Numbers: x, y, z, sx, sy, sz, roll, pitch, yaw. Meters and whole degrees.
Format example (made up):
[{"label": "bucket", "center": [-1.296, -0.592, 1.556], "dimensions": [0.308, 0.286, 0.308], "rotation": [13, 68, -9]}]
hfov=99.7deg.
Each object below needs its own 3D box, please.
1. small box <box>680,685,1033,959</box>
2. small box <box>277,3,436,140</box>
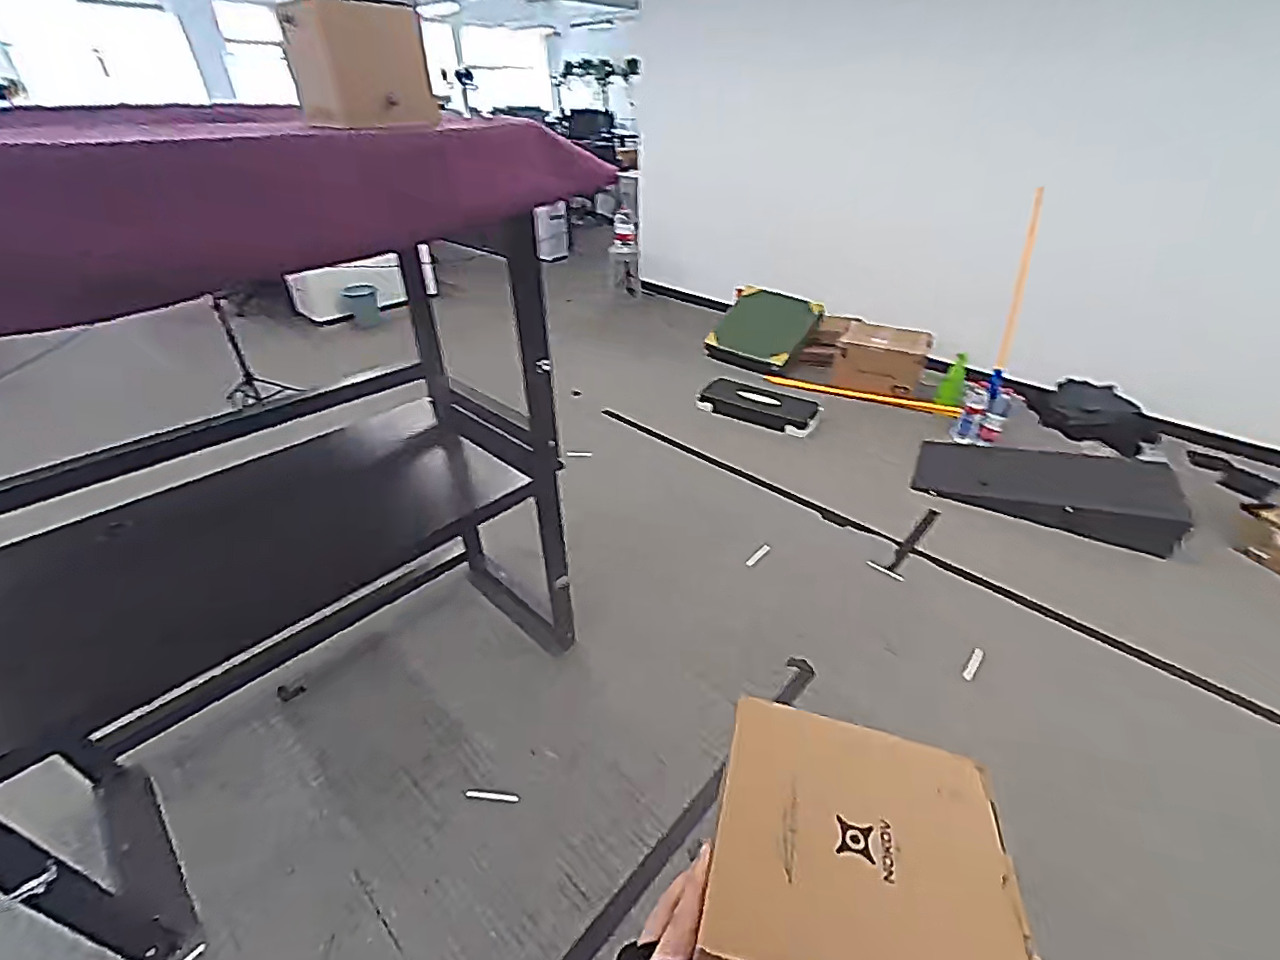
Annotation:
[{"label": "small box", "center": [0.130, 0.281, 0.373], "dimensions": [0.179, 0.176, 0.168], "rotation": [10, 33, 14]}, {"label": "small box", "center": [-0.472, -0.690, 0.927], "dimensions": [0.168, 0.176, 0.179], "rotation": [26, 42, 33]}]
